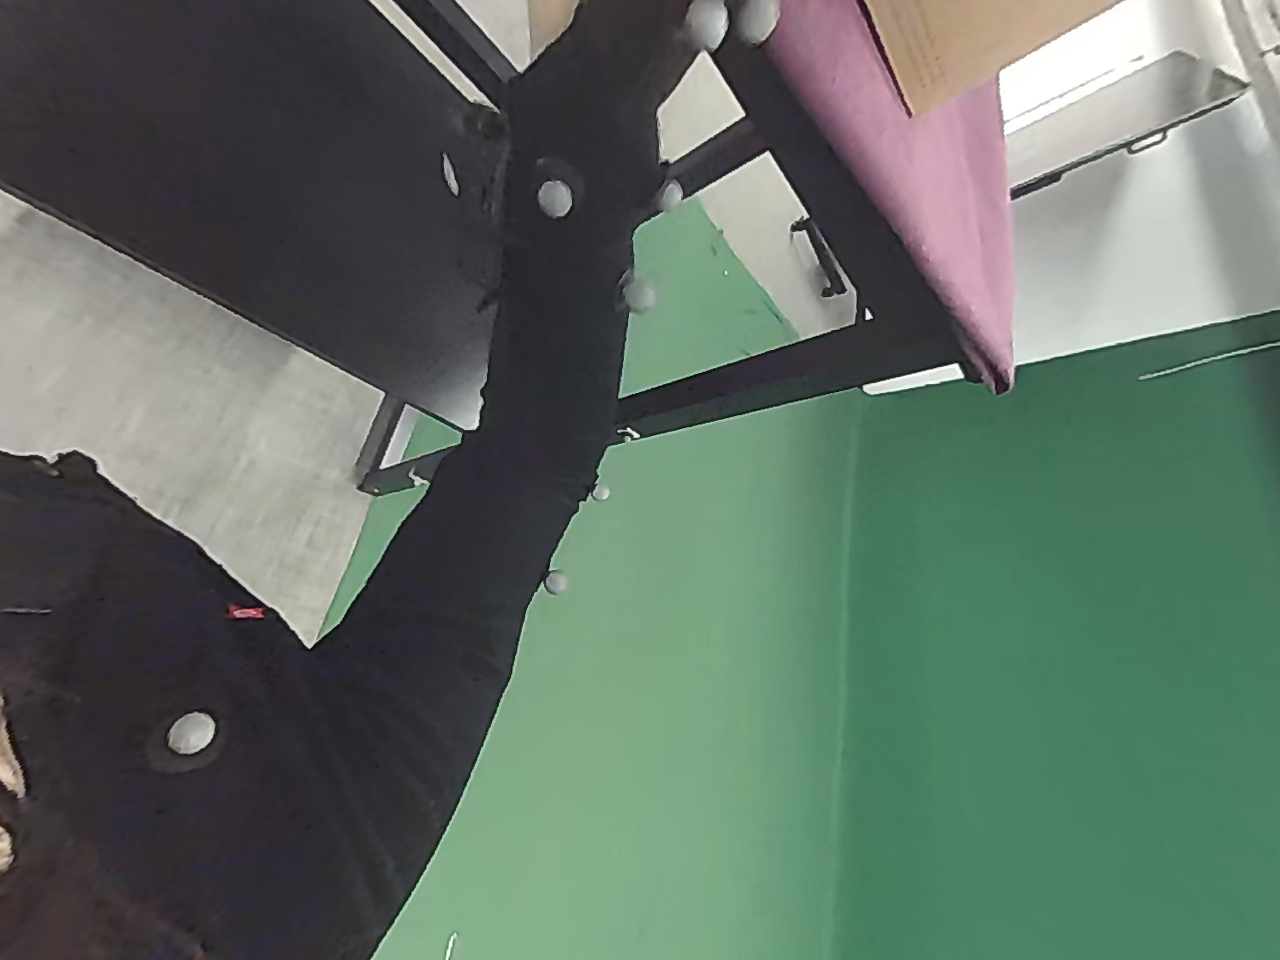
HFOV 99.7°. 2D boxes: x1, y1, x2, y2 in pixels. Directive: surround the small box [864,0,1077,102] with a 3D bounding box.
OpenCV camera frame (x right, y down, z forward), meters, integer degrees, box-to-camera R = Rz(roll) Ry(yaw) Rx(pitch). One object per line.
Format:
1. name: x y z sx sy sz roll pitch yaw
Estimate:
1. small box: 0.217 -0.394 0.331 0.179 0.176 0.168 33 57 -40
